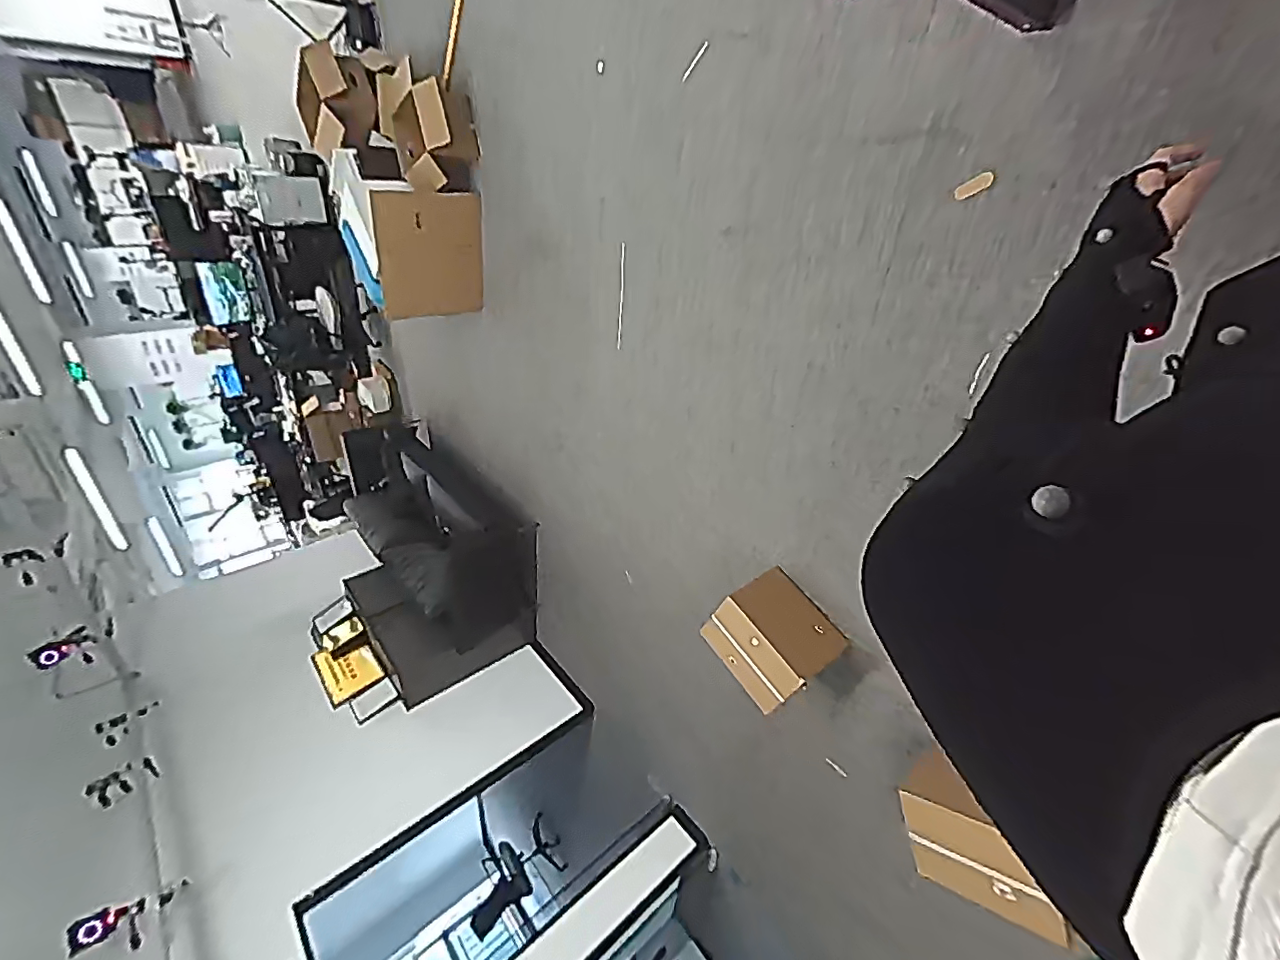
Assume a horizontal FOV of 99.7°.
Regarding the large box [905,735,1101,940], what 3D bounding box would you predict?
[{"bbox_3d":[1.108,1.055,1.662,0.408,0.320,0.320,-7,102,52],"label":"large box"}]
